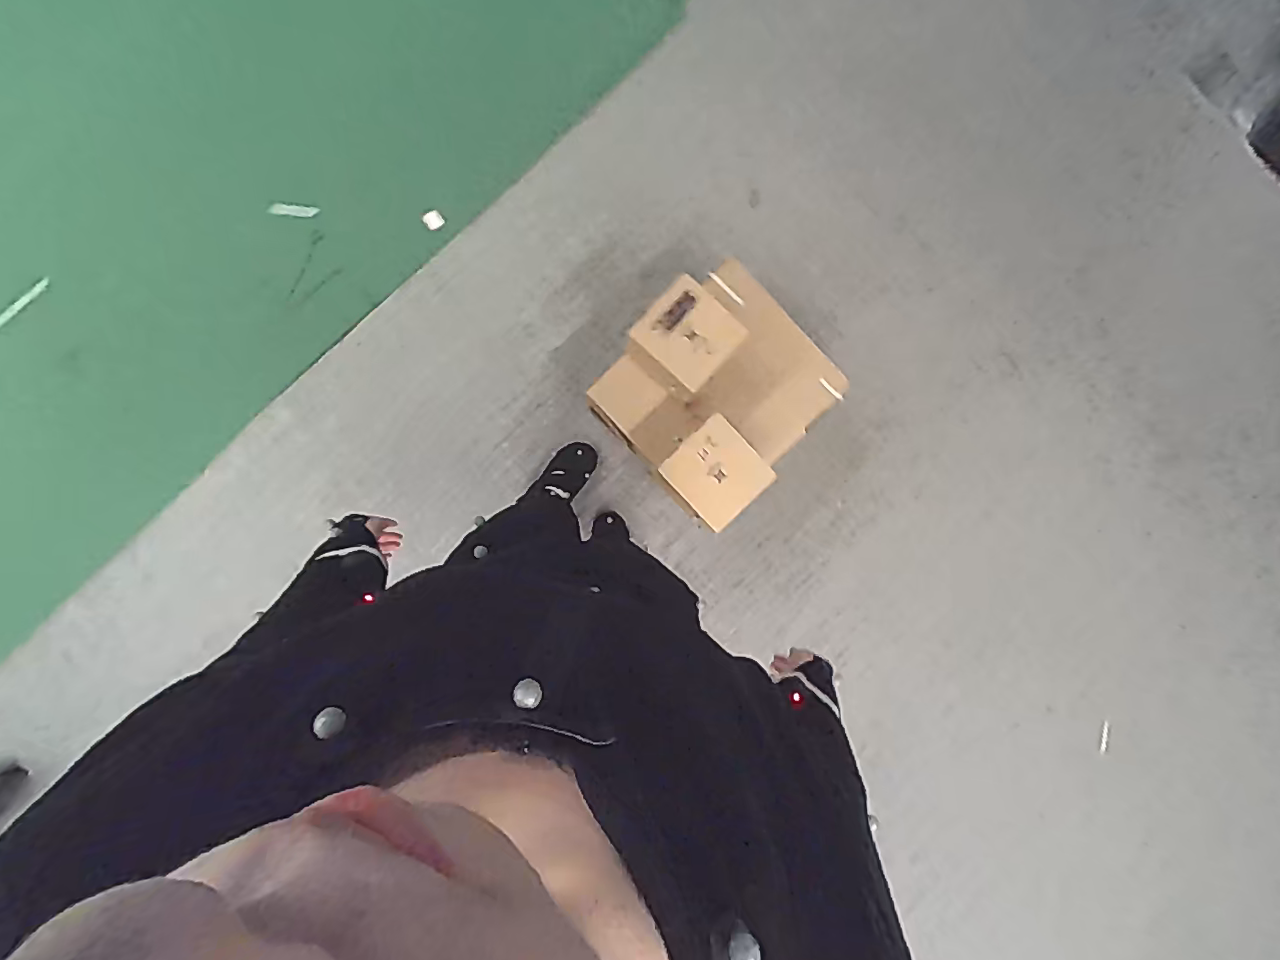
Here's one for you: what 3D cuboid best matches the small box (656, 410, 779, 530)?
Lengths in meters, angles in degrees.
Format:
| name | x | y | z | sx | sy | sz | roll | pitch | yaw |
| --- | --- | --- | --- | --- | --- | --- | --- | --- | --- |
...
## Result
| name | x | y | z | sx | sy | sz | roll | pitch | yaw |
| --- | --- | --- | --- | --- | --- | --- | --- | --- | --- |
| small box | 0.151 | -0.022 | 1.119 | 0.168 | 0.176 | 0.179 | -42 | 92 | -2 |
